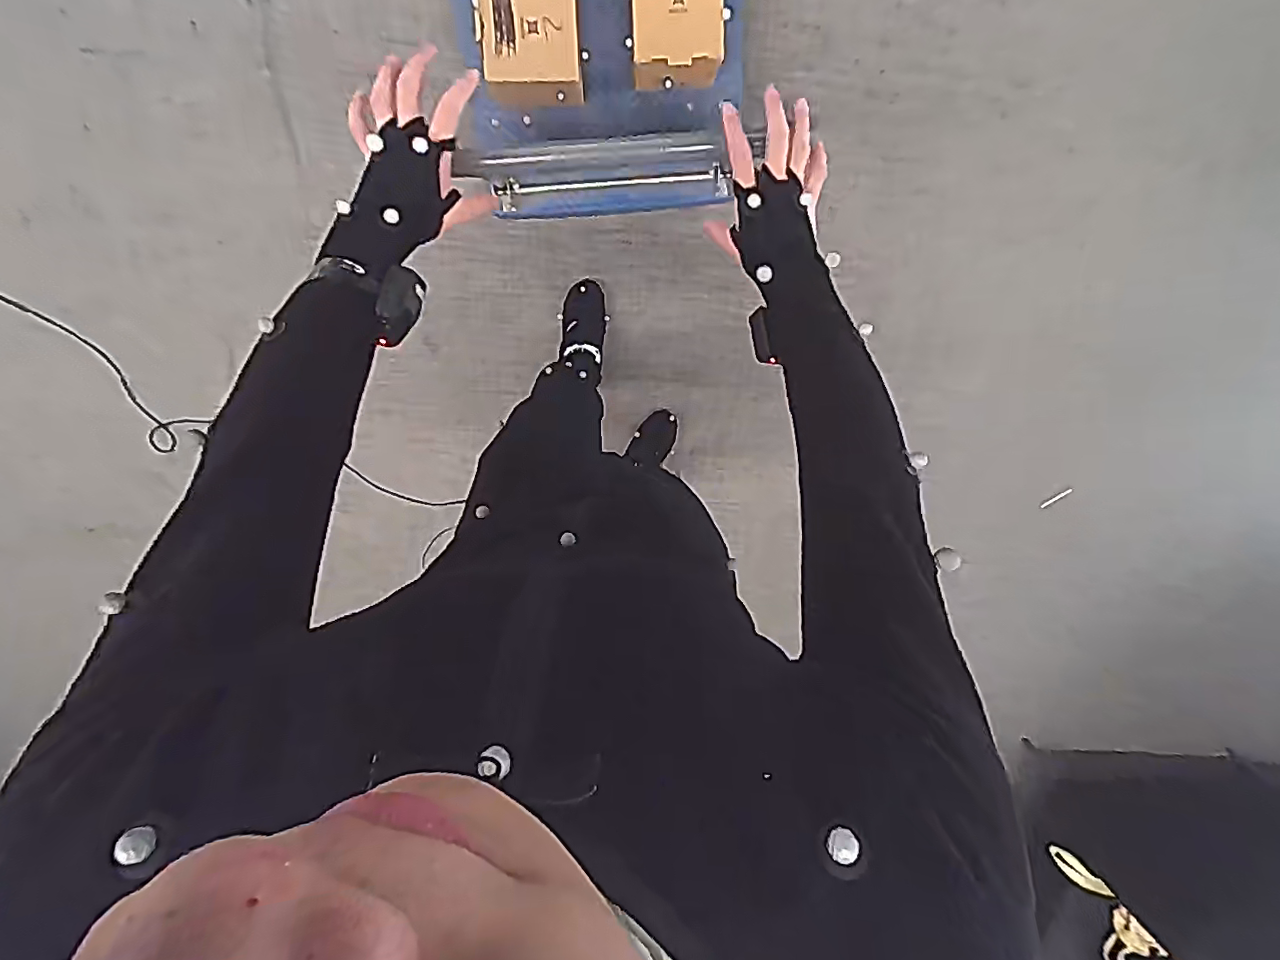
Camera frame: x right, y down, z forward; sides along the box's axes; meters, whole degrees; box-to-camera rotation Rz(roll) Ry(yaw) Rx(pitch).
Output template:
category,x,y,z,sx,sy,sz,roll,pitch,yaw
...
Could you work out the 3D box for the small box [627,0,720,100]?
category,x,y,z,sx,sy,sz,roll,pitch,yaw
small box,0.062,-0.880,1.063,0.168,0.176,0.179,-4,111,0
